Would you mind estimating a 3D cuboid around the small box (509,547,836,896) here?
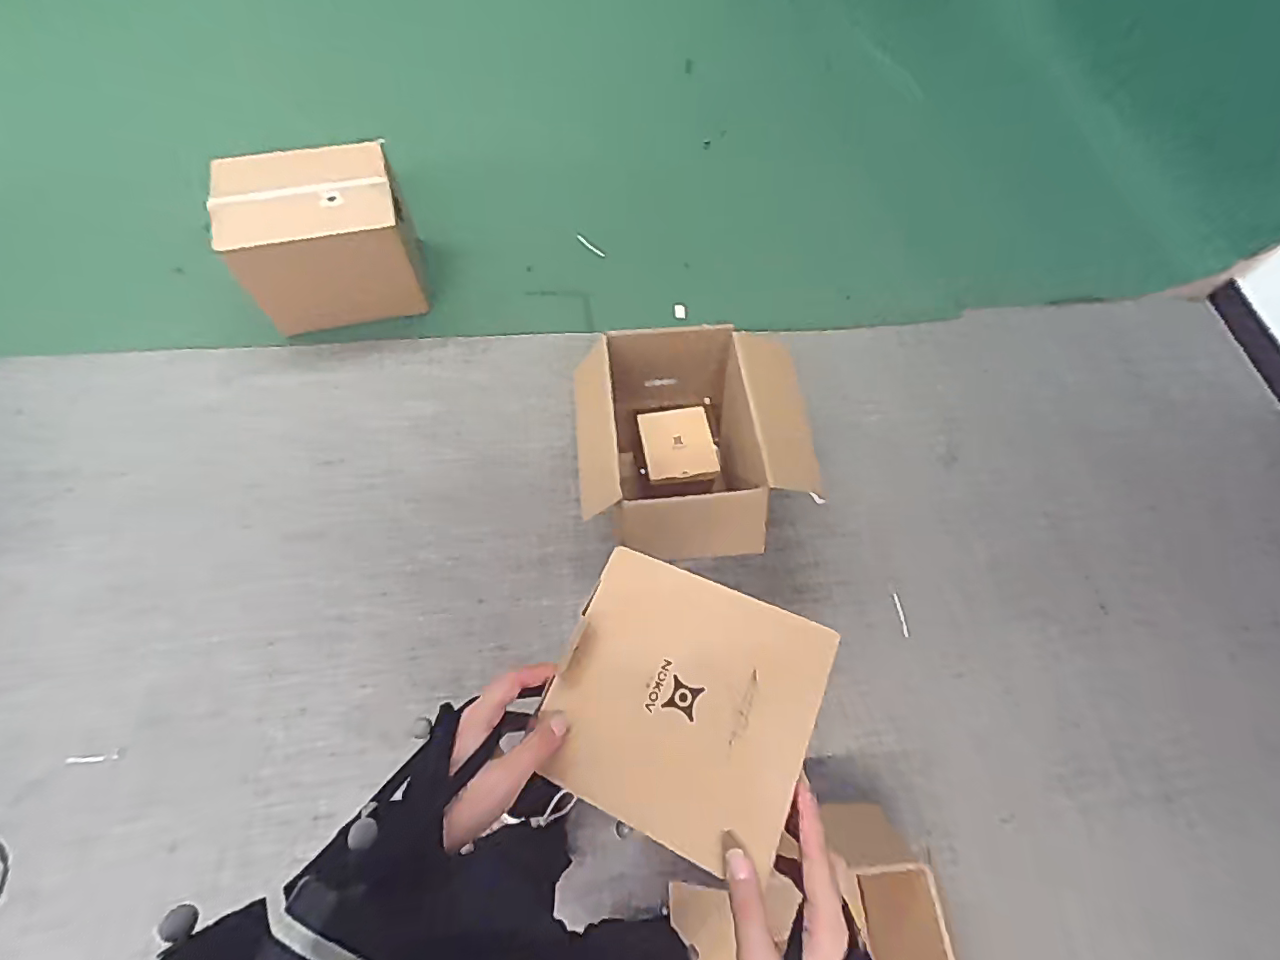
[{"bbox_3d":[0.033,0.180,0.429,0.179,0.176,0.168,19,68,16],"label":"small box"}]
